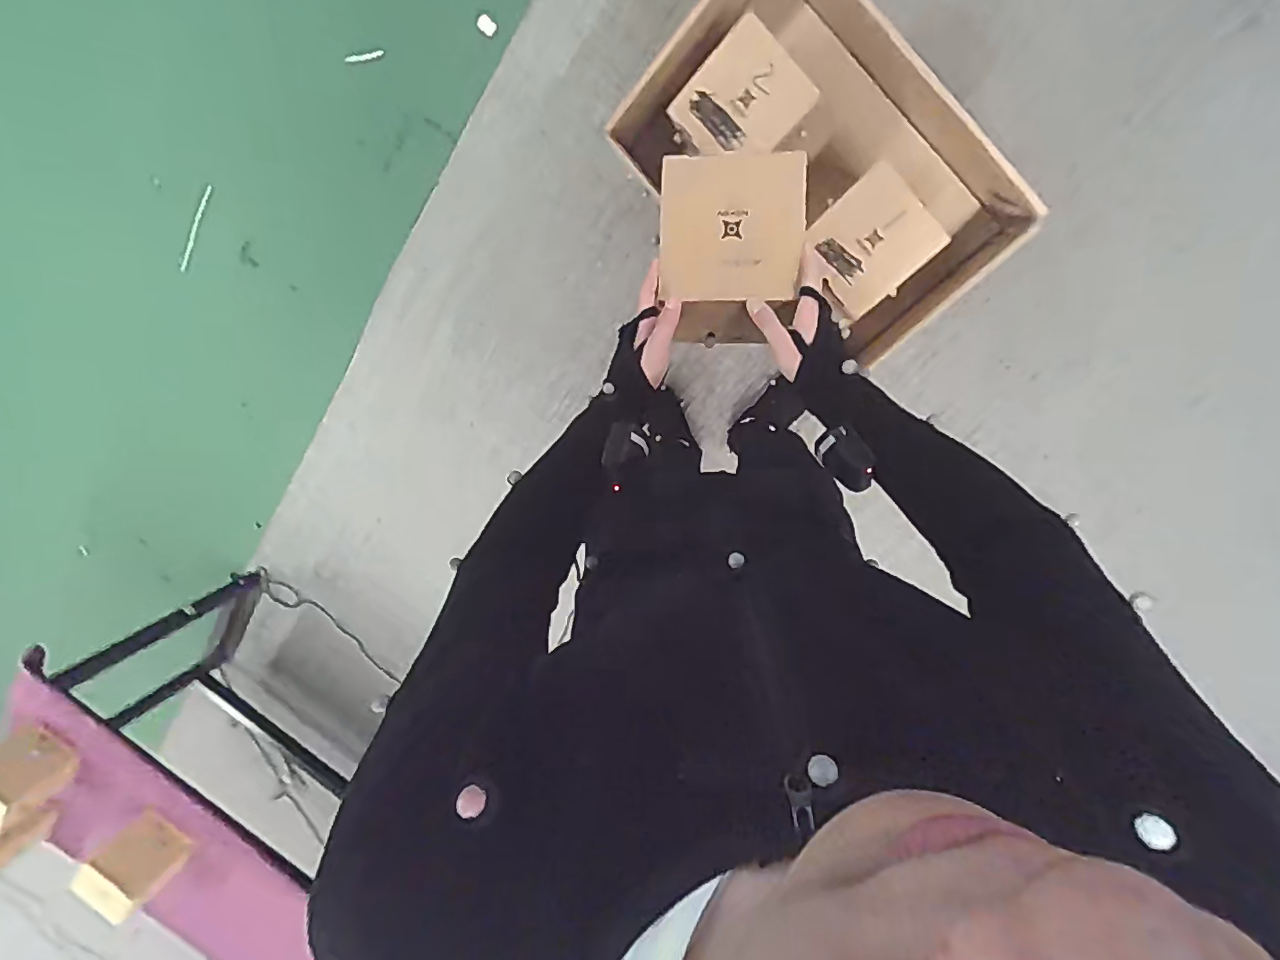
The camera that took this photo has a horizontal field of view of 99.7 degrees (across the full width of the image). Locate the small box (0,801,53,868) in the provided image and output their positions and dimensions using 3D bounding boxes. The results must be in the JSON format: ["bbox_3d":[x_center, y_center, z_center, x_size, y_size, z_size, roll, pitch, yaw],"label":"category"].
[{"bbox_3d":[-1.900,1.037,1.588,0.168,0.176,0.179,39,110,-3],"label":"small box"}]

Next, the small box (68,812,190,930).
[{"bbox_3d":[-1.391,1.062,1.479,0.168,0.176,0.179,41,112,-1],"label":"small box"}]

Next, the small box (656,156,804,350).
[{"bbox_3d":[0.109,-0.280,0.695,0.168,0.176,0.179,1,87,6],"label":"small box"}]

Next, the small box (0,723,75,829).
[{"bbox_3d":[-1.706,0.808,1.471,0.168,0.176,0.179,41,113,-3],"label":"small box"}]
